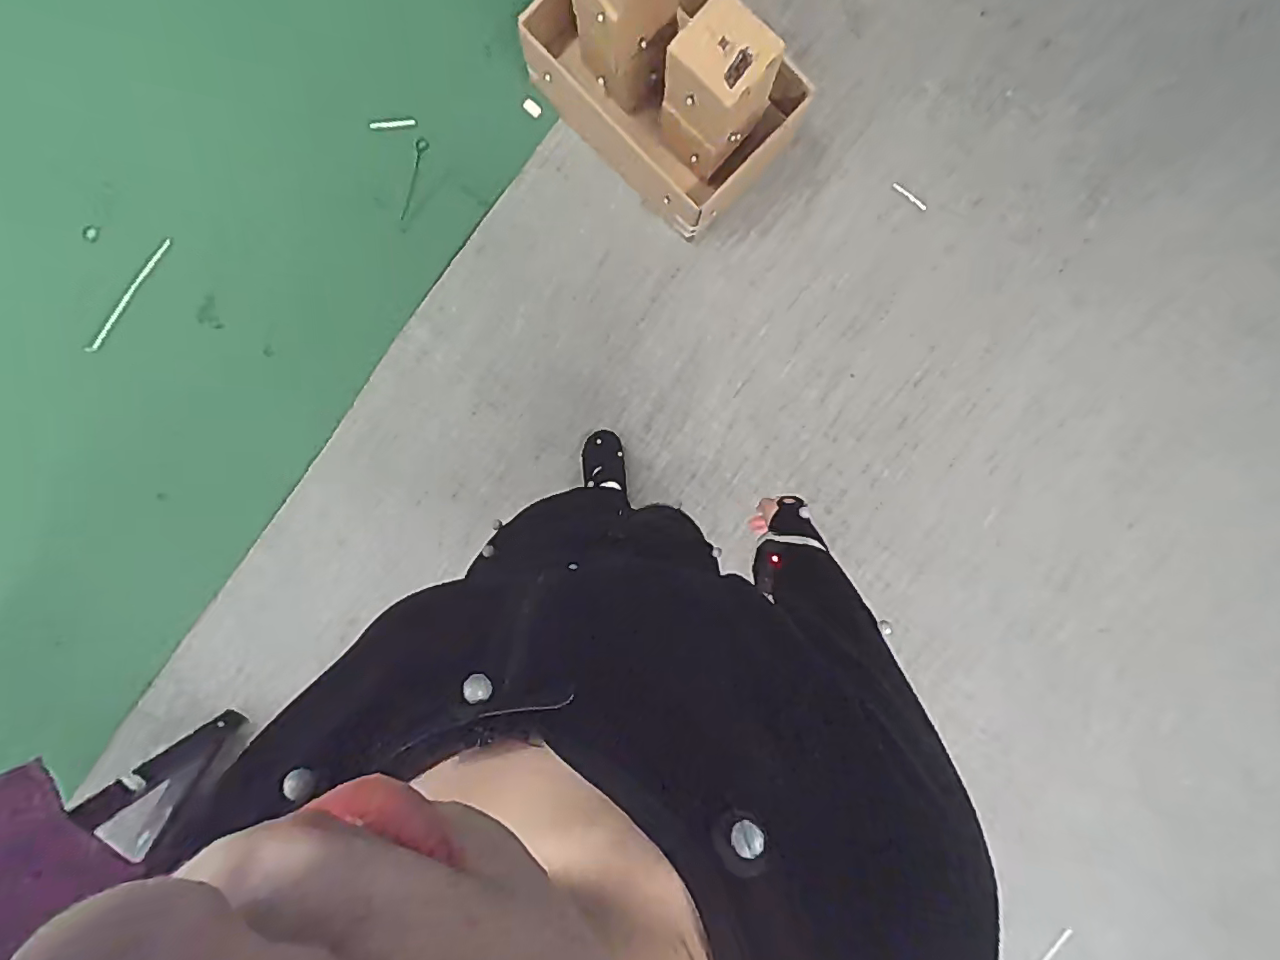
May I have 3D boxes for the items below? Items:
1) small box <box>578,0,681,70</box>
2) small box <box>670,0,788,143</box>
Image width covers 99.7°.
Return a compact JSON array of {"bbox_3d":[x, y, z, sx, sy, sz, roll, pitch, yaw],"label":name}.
[{"bbox_3d":[-0.028,-1.034,1.144,0.168,0.176,0.179,-35,95,2],"label":"small box"},{"bbox_3d":[0.180,-0.863,1.149,0.179,0.176,0.168,44,93,0],"label":"small box"}]
